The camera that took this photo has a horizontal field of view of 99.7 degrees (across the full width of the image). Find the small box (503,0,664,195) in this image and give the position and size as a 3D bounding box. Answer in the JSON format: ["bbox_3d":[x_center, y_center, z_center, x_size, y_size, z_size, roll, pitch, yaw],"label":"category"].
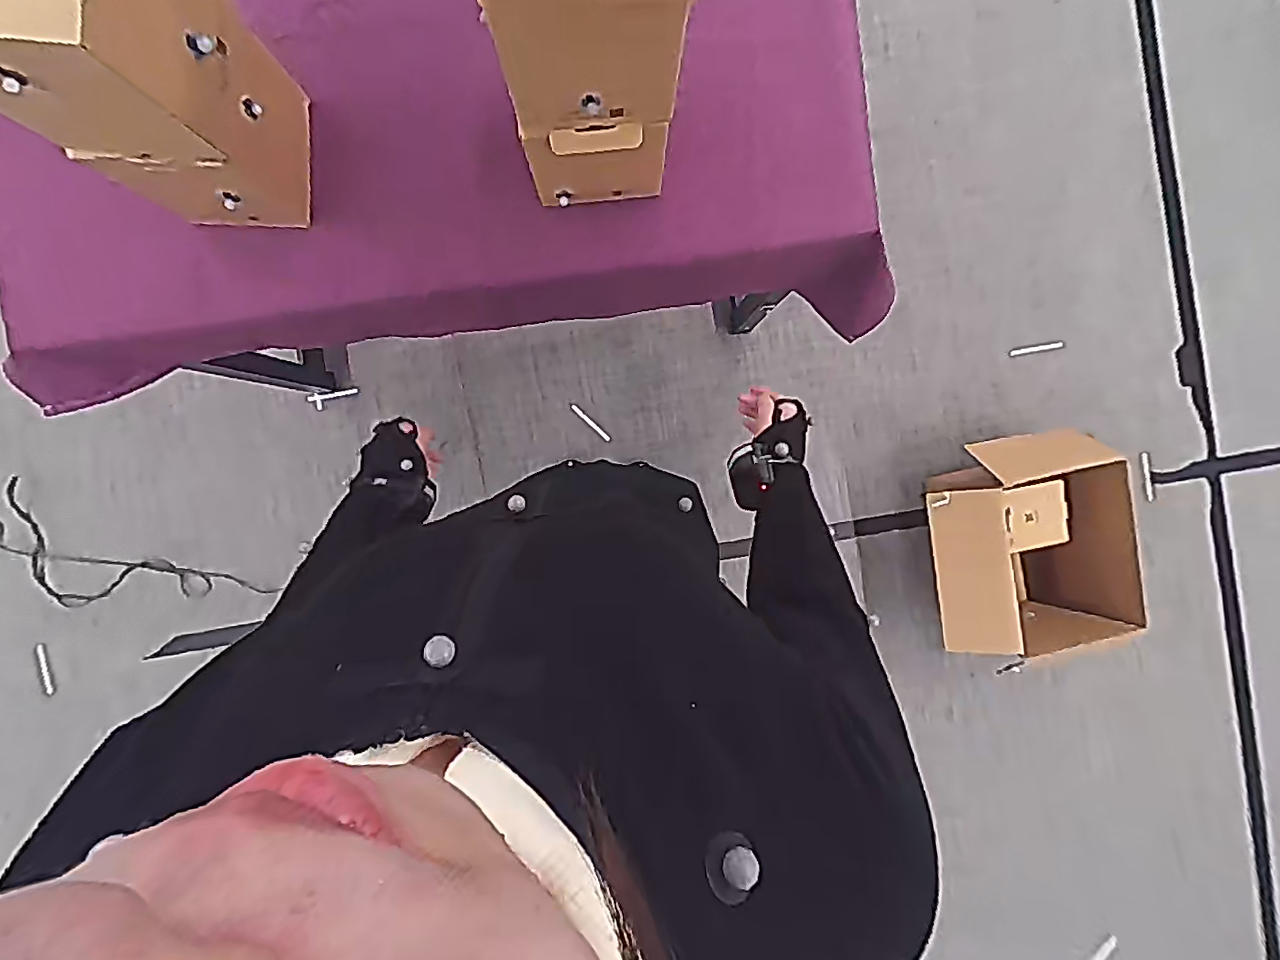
[{"bbox_3d":[-0.062,-0.472,0.661,0.168,0.176,0.179,-6,92,-2],"label":"small box"}]

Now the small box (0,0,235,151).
[{"bbox_3d":[-0.513,-0.425,0.485,0.179,0.176,0.168,3,94,-3],"label":"small box"}]

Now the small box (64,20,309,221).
[{"bbox_3d":[-0.525,-0.432,0.649,0.168,0.176,0.179,2,93,-3],"label":"small box"}]
